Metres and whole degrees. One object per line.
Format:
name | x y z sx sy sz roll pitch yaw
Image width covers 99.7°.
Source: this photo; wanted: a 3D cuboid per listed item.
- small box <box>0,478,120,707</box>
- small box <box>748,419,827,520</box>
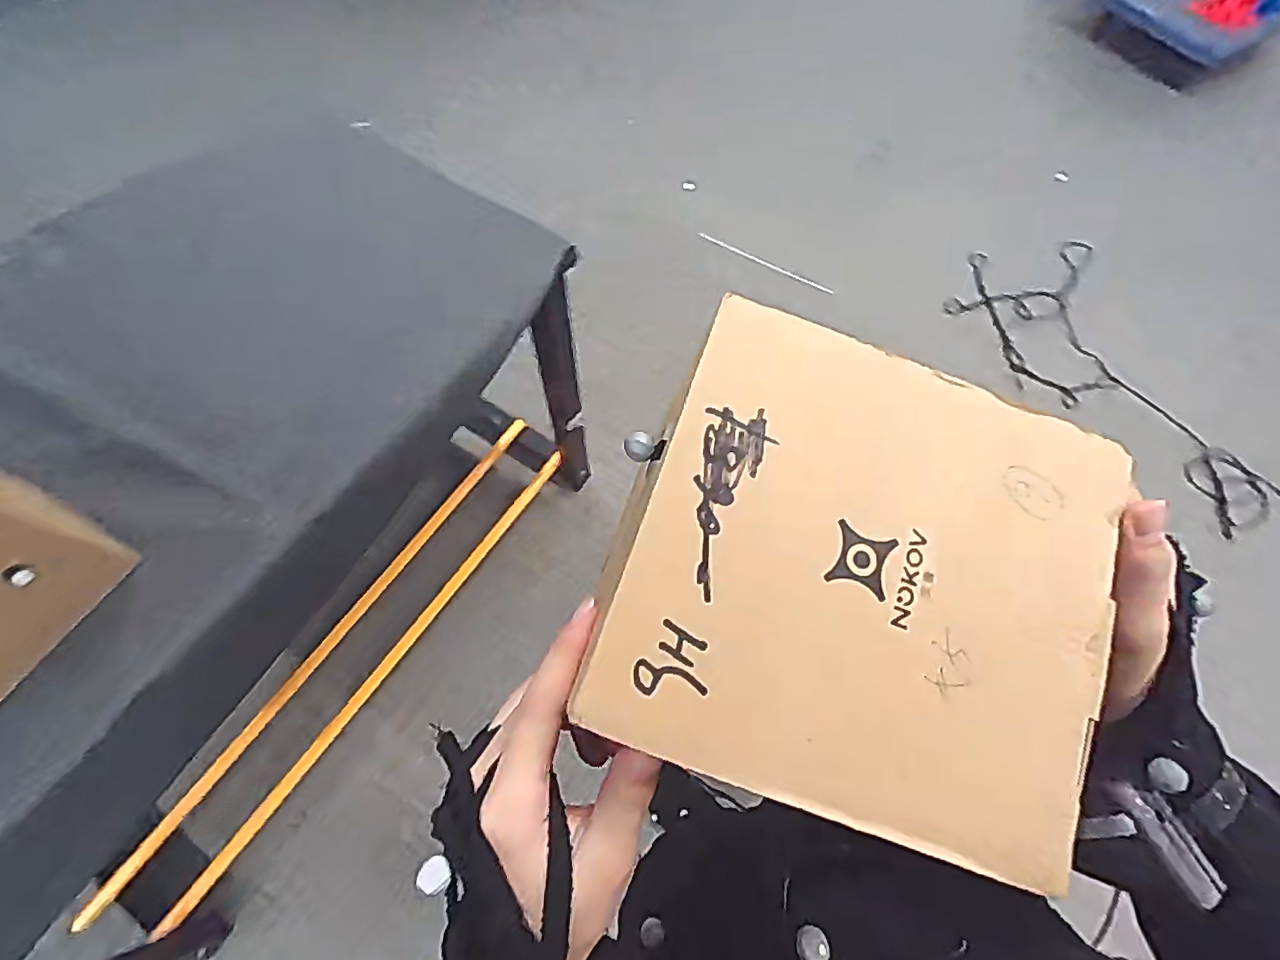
small box | -0.619 0.083 0.465 0.168 0.176 0.179 26 68 11
small box | 0.383 -0.029 1.348 0.168 0.176 0.179 25 67 10
